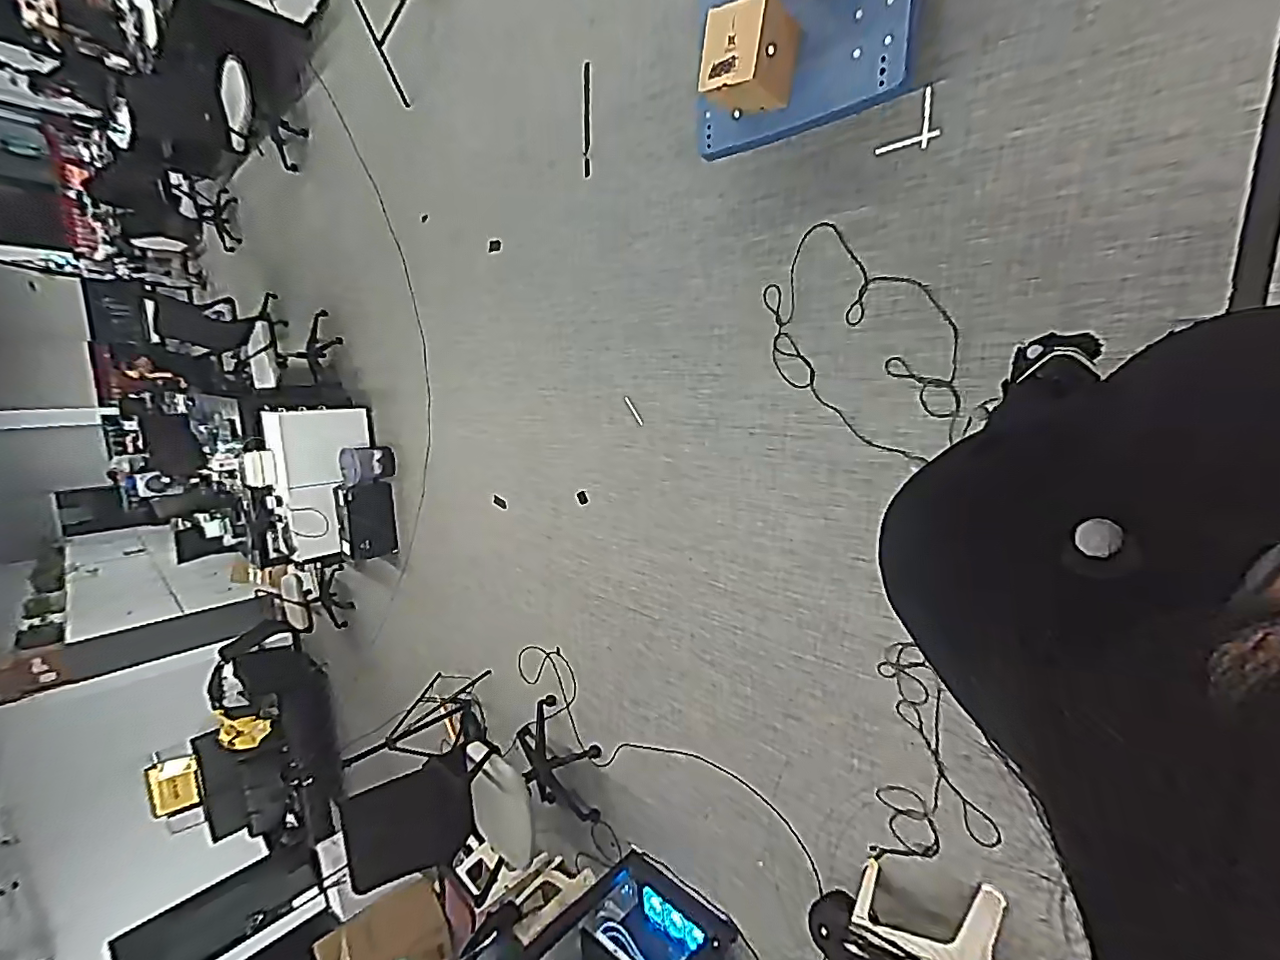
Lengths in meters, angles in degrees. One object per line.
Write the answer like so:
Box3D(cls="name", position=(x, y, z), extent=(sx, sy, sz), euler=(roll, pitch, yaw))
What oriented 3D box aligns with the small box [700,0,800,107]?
Box3D(cls="small box", position=(0.274, -1.048, 1.331), extent=(0.168, 0.176, 0.179), euler=(21, 111, 40))
